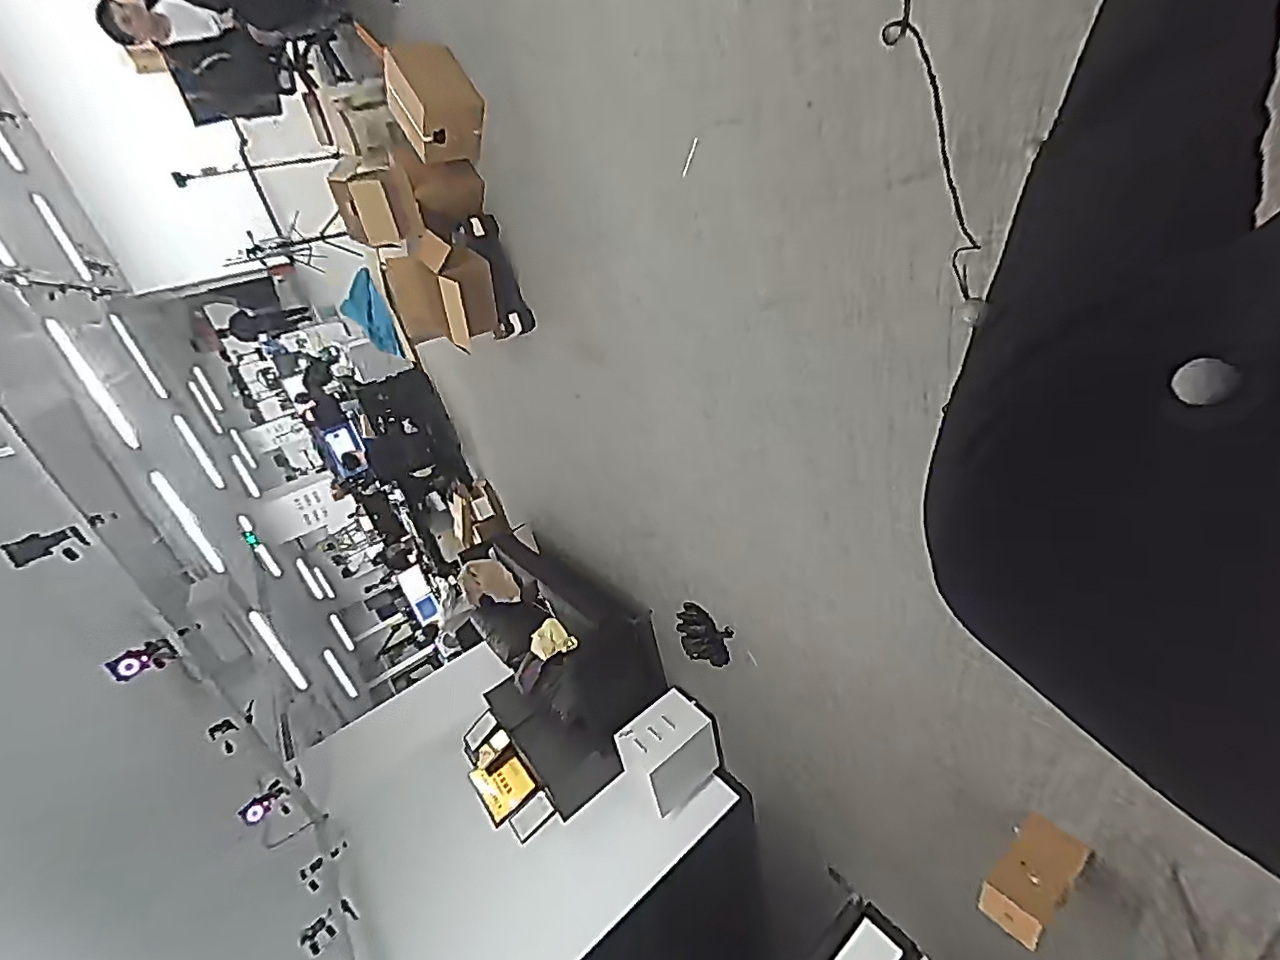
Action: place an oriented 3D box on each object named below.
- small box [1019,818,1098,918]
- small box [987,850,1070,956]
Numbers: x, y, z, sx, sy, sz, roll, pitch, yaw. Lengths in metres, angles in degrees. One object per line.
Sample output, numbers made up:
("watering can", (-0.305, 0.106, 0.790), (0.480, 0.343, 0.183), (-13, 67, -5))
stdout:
("small box", (1.385, 1.289, 1.807), (0.179, 0.176, 0.168), (26, 136, 48))
("small box", (1.253, 1.358, 1.743), (0.168, 0.176, 0.179), (22, 132, 48))
